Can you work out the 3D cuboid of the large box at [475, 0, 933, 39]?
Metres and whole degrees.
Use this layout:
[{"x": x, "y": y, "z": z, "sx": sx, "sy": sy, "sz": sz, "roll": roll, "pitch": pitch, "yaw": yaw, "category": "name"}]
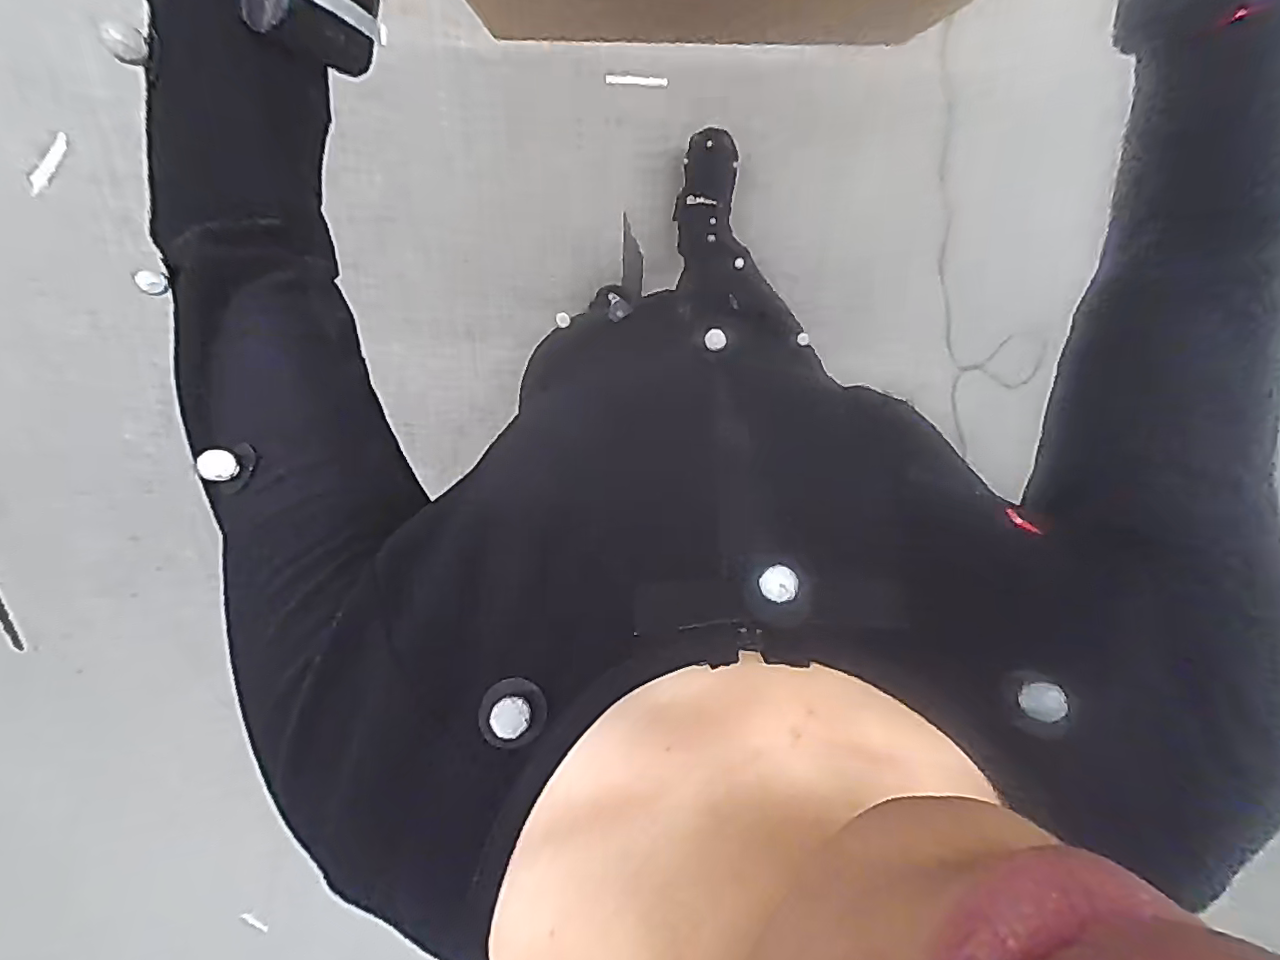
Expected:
[{"x": 0.057, "y": -0.509, "z": 0.328, "sx": 0.408, "sy": 0.320, "sz": 0.320, "roll": -1, "pitch": 116, "yaw": -1, "category": "large box"}]
